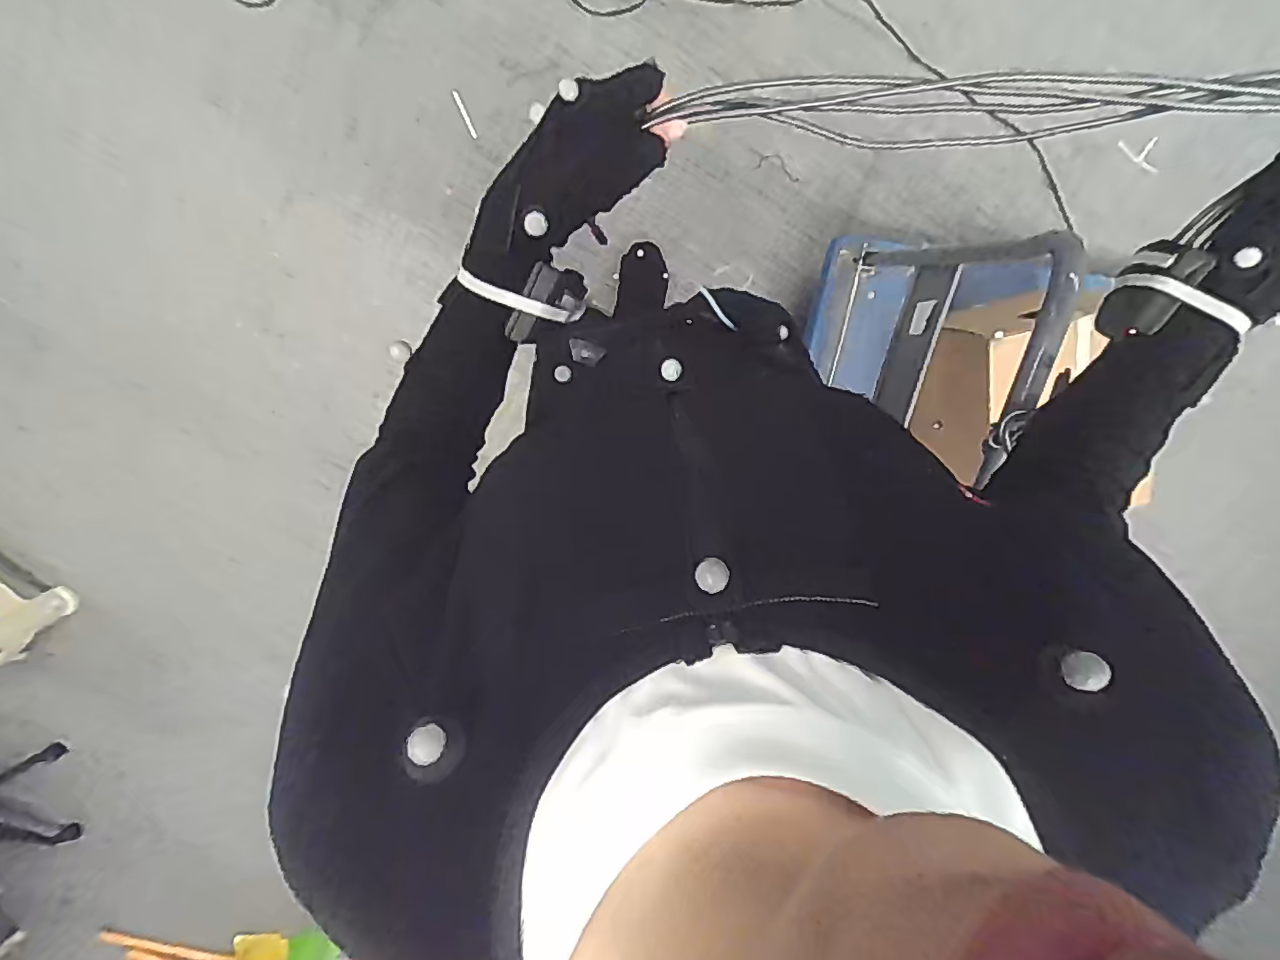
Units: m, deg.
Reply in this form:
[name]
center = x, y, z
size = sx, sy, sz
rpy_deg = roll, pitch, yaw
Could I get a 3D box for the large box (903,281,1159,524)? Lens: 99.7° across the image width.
[large box]
center = 0.791, -0.176, 1.144
size = 0.320, 0.320, 0.408
rpy_deg = -14, 110, 2
